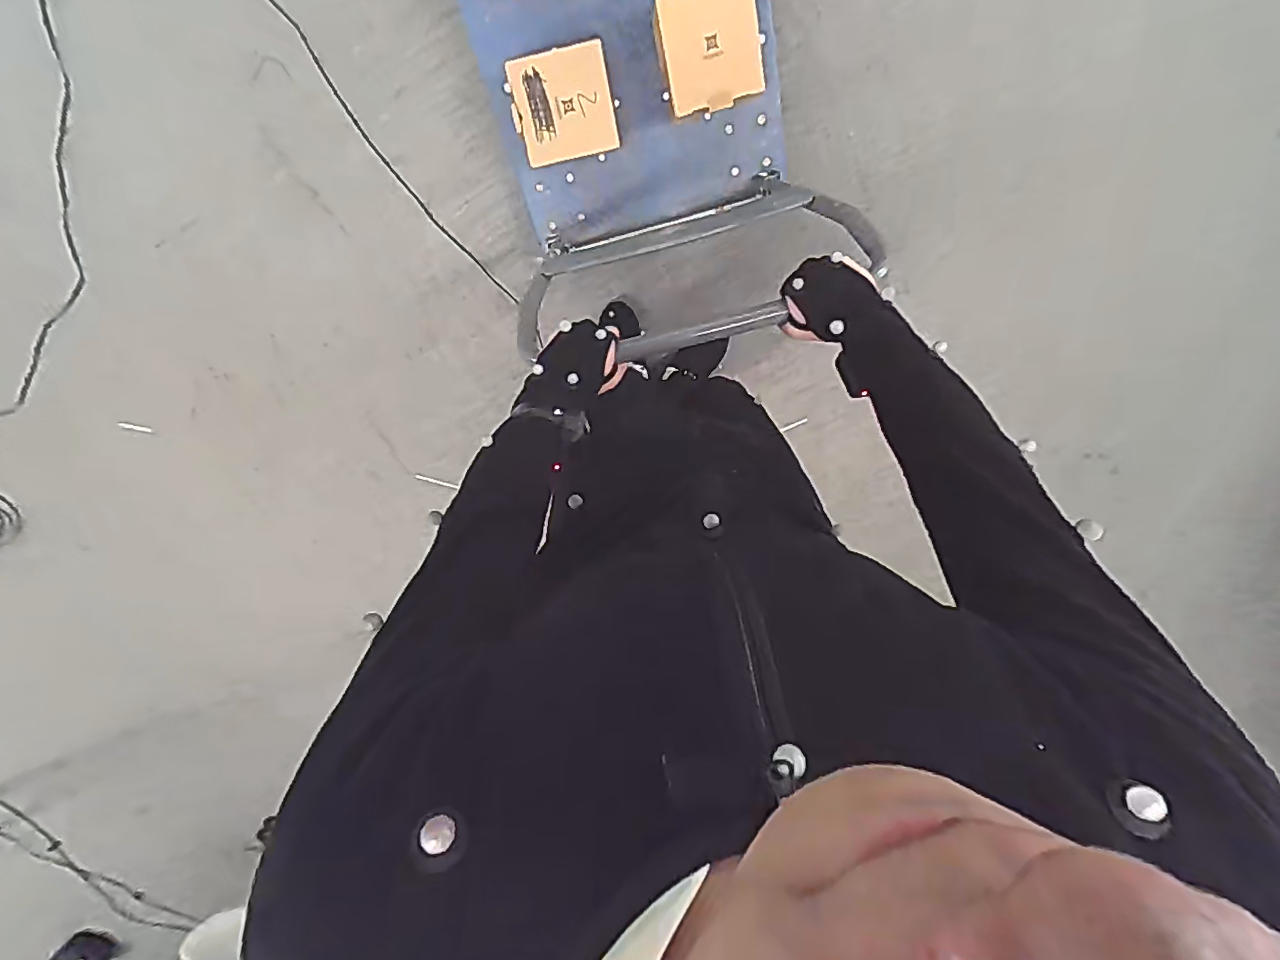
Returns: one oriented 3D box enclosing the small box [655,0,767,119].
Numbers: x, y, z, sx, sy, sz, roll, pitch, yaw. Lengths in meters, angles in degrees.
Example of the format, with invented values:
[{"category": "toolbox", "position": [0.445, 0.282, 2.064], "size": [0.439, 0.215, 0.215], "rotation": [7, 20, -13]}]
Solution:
[{"category": "small box", "position": [0.127, -0.798, 1.005], "size": [0.168, 0.176, 0.179], "rotation": [-14, 121, 7]}]
